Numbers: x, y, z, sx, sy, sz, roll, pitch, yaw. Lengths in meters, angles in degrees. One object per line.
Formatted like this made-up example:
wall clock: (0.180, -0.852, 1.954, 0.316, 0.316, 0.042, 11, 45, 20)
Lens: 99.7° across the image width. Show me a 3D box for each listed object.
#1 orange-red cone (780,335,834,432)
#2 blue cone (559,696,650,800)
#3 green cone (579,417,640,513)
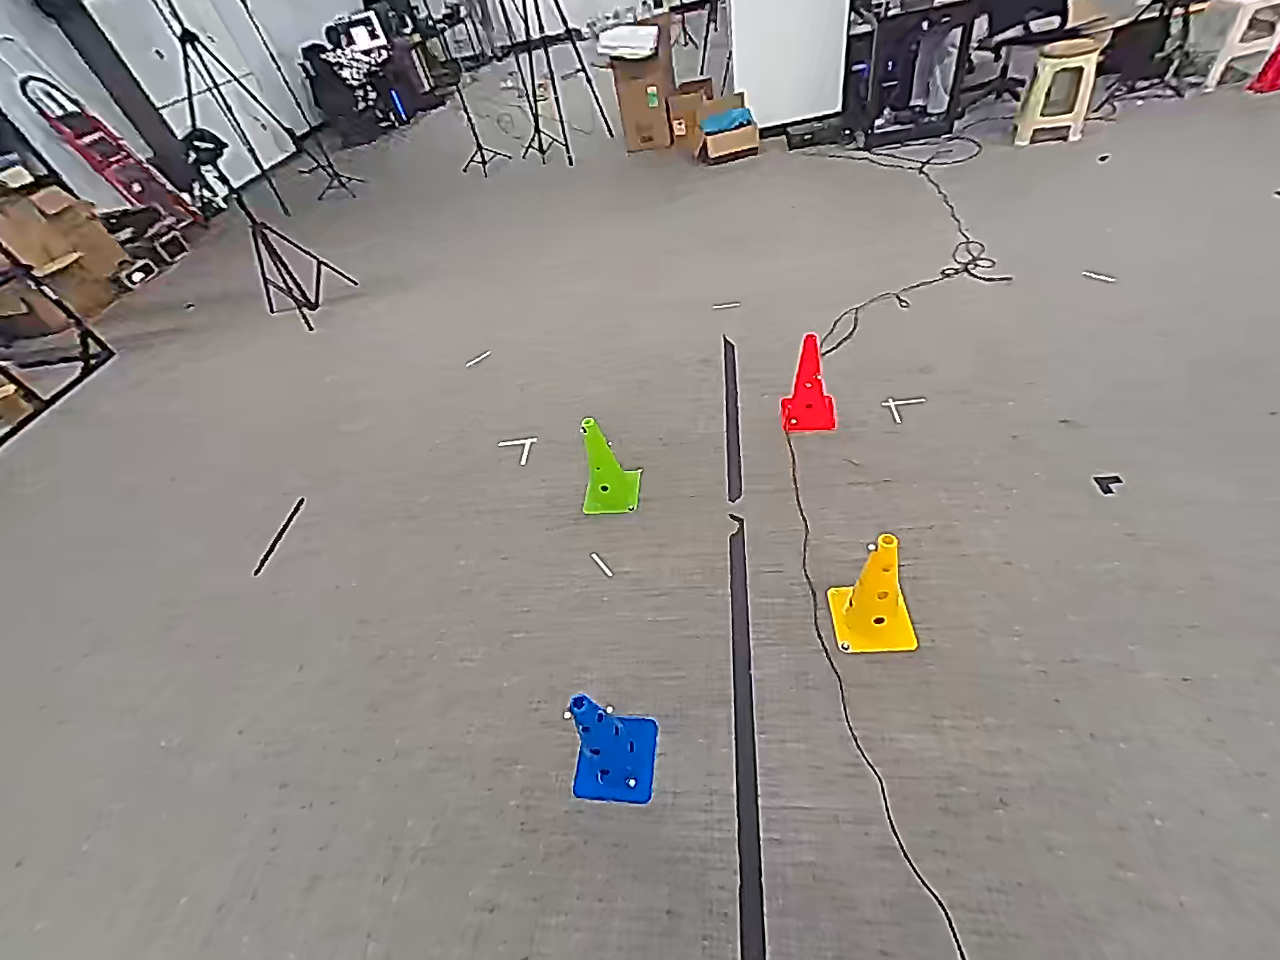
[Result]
orange-red cone: (0.616, -0.369, 1.971, 0.199, 0.360, 0.198, 0, 49, 14)
blue cone: (-0.106, 0.593, 1.257, 0.192, 0.380, 0.193, -2, 46, 15)
green cone: (-0.139, -0.076, 1.886, 0.202, 0.368, 0.200, -5, 46, 12)
